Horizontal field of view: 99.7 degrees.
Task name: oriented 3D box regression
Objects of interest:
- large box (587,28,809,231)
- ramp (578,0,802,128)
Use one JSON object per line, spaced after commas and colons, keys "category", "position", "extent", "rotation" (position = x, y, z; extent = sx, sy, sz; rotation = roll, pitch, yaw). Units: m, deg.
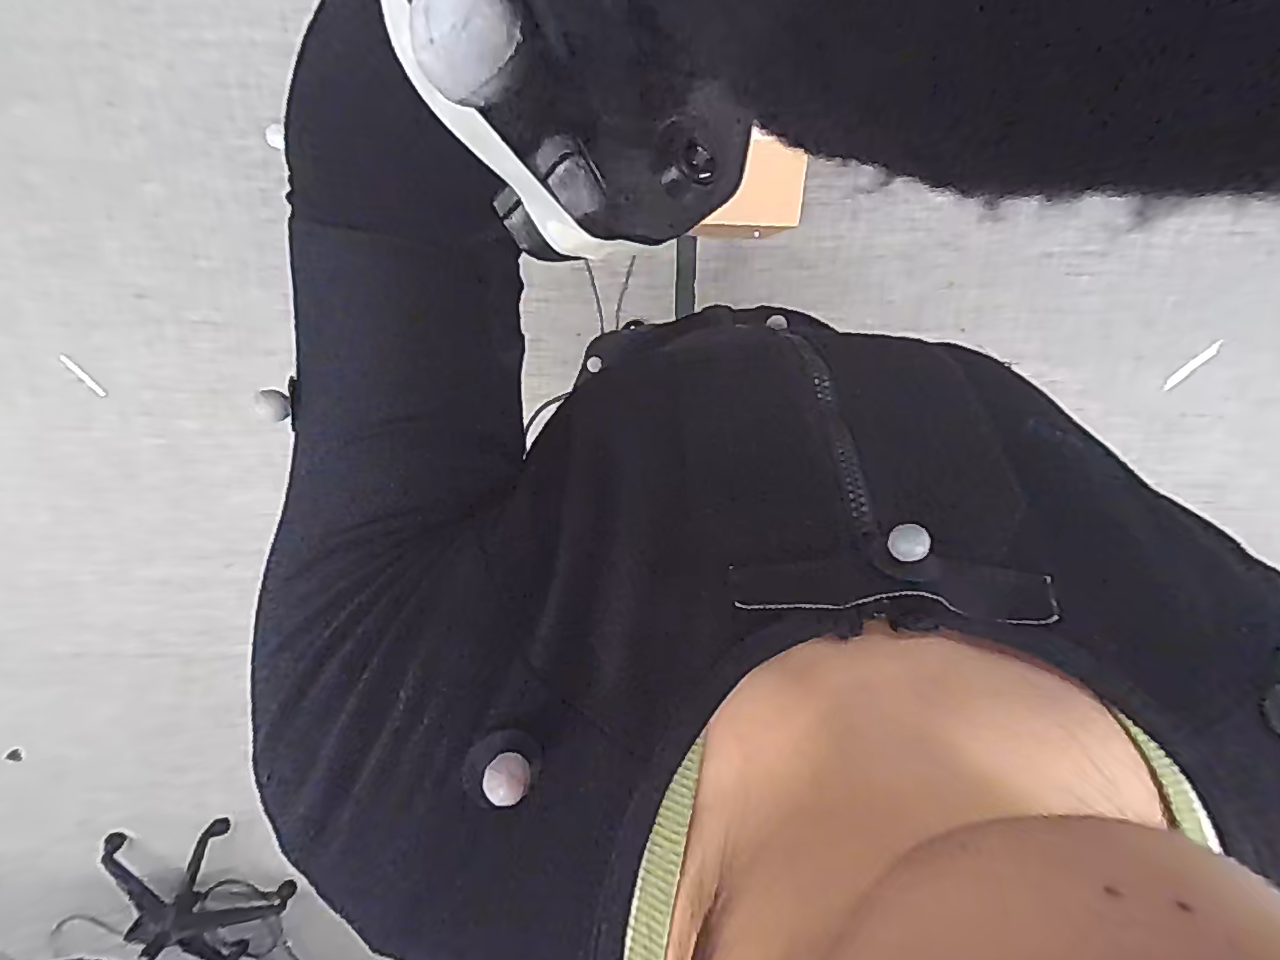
{"category": "large box", "position": [0.103, -0.706, 1.148], "extent": [0.408, 0.320, 0.320], "rotation": [2, 110, -1]}
{"category": "ramp", "position": [0.110, -1.272, 1.053], "extent": [0.509, 0.206, 0.991], "rotation": [-2, 107, -1]}
